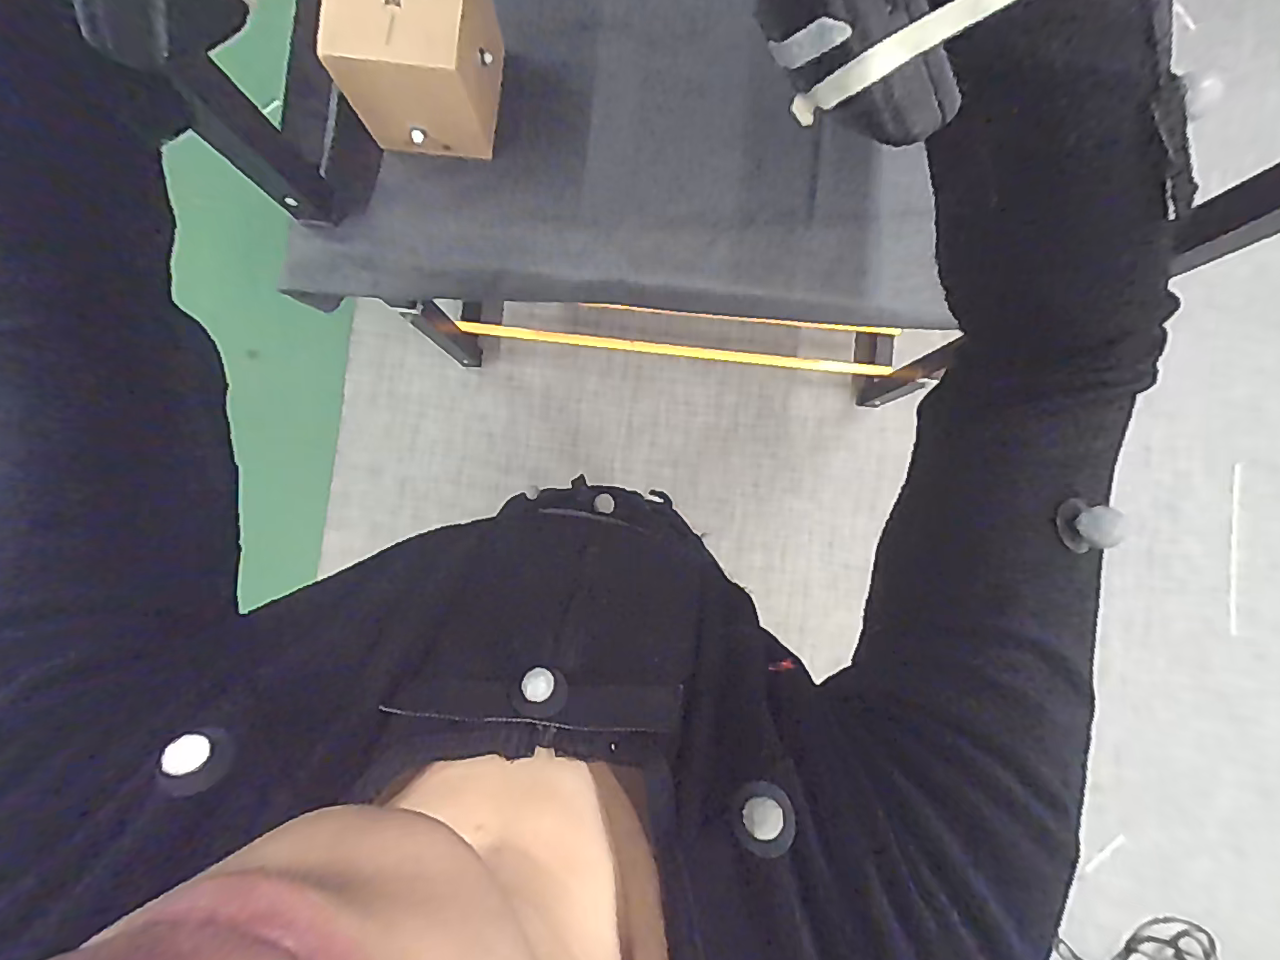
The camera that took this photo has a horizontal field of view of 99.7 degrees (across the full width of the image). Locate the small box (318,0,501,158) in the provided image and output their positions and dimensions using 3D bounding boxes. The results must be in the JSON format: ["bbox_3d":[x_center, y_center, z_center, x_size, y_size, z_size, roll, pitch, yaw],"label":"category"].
[{"bbox_3d":[-0.289,-0.573,0.719,0.168,0.176,0.179,6,87,-1],"label":"small box"}]
